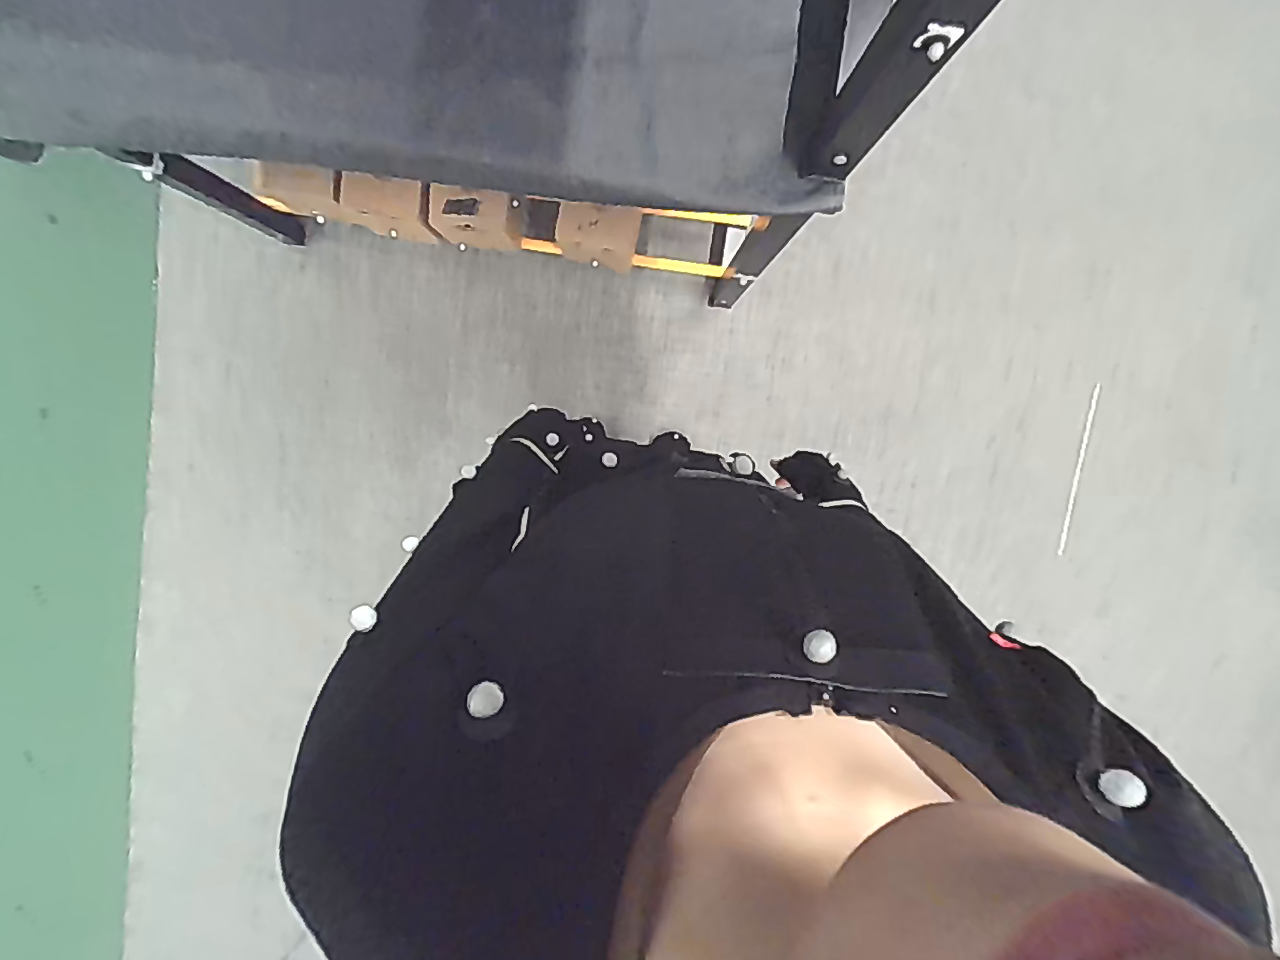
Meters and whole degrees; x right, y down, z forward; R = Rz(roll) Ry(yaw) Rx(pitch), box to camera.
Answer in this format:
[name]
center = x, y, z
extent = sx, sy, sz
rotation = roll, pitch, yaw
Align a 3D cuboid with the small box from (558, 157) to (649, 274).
[small box]
center = -0.080, -0.595, 1.235
extent = 0.168, 0.176, 0.179
rotation = 13, 98, -1
